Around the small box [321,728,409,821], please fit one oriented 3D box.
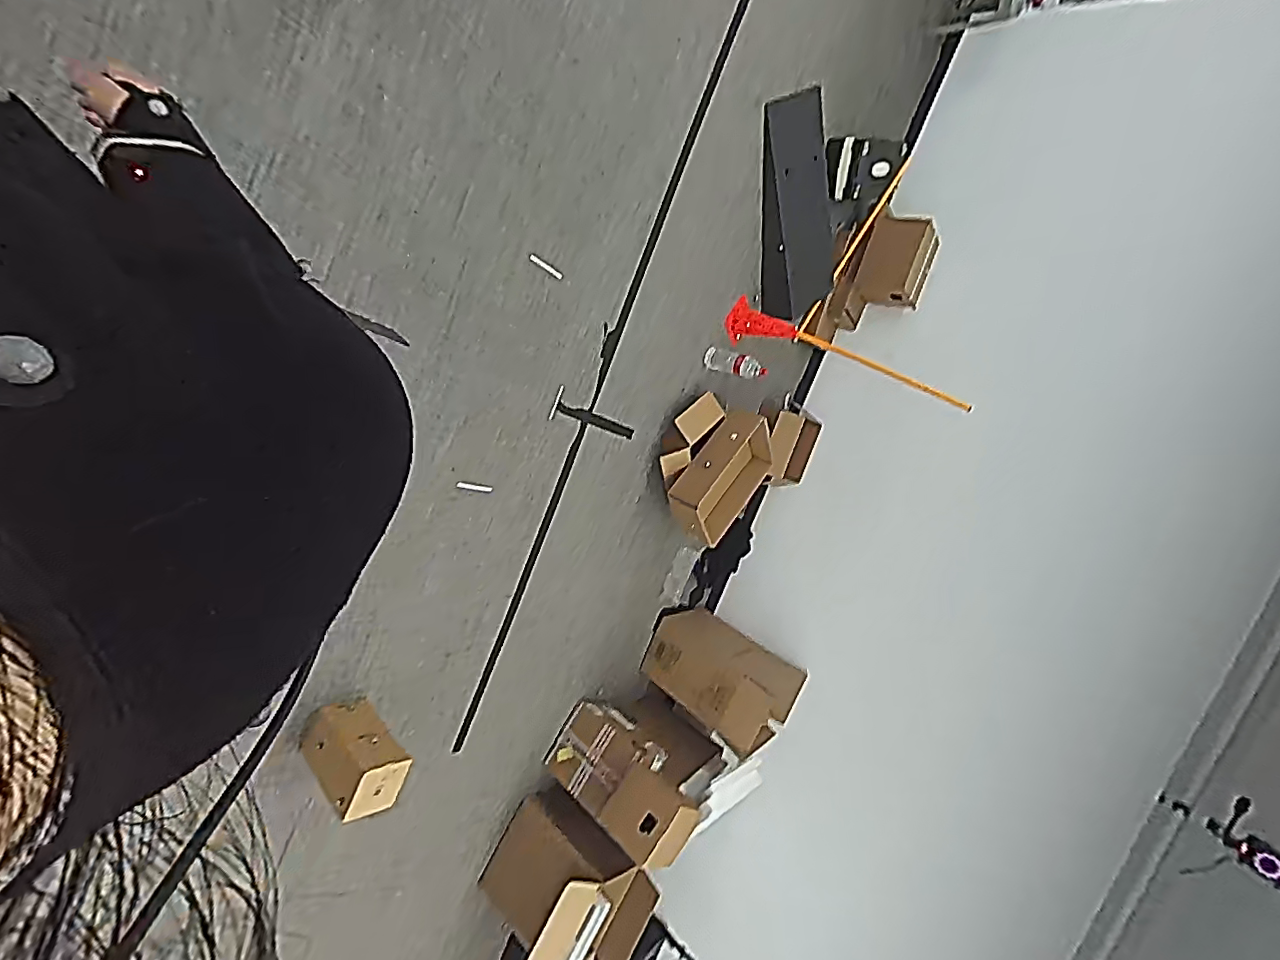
[{"bbox_3d":[-0.875,0.921,1.708,0.168,0.176,0.179,21,93,-57],"label":"small box"}]
